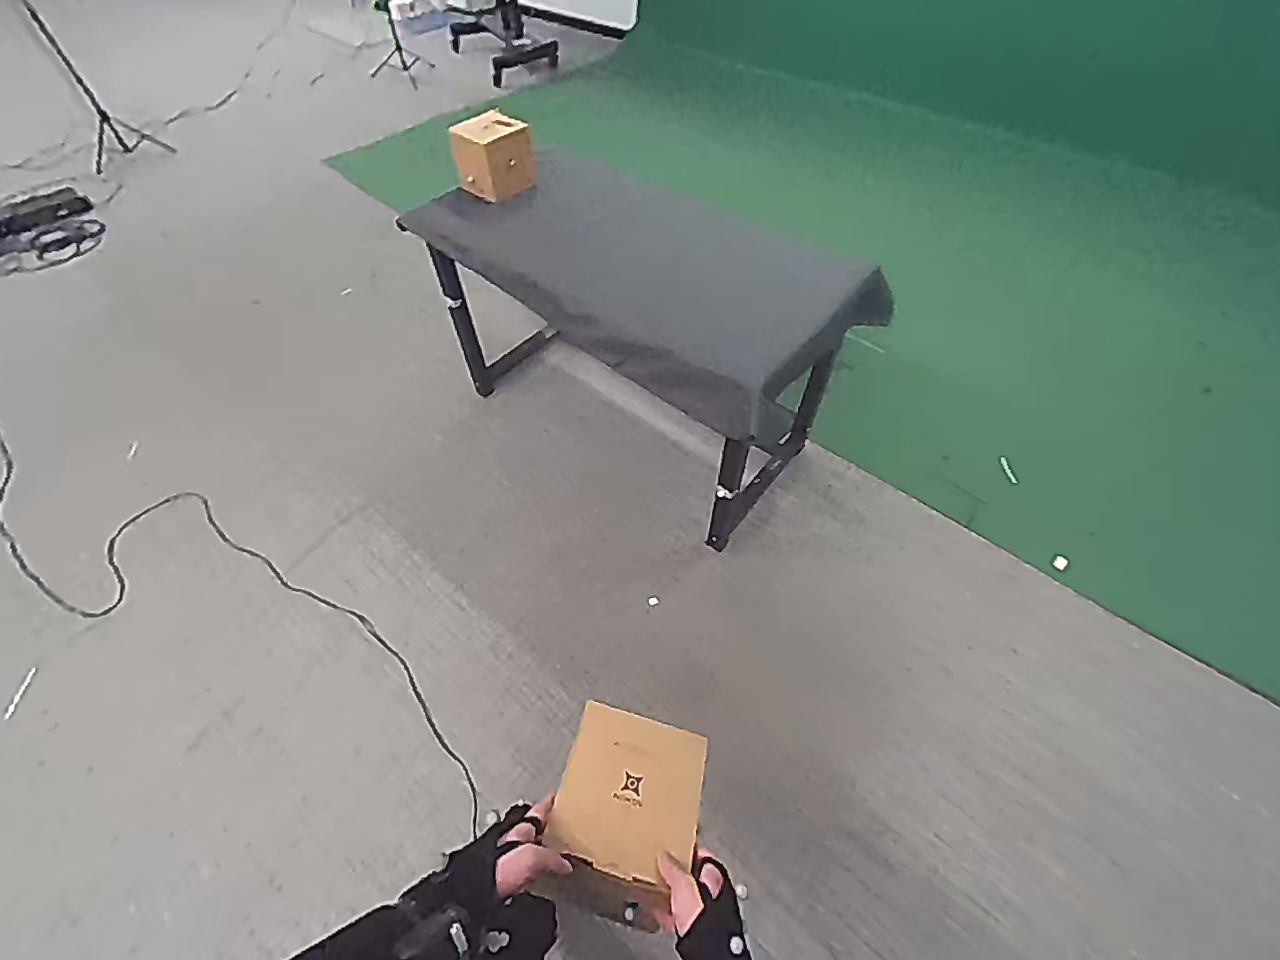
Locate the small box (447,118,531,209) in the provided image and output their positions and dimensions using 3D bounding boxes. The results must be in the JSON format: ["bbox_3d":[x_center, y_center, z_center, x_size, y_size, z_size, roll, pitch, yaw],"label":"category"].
[{"bbox_3d":[-0.447,-0.958,1.637,0.168,0.176,0.179,34,61,22],"label":"small box"}]

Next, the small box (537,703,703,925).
[{"bbox_3d":[-0.027,0.427,0.691,0.168,0.176,0.179,16,37,2],"label":"small box"}]
